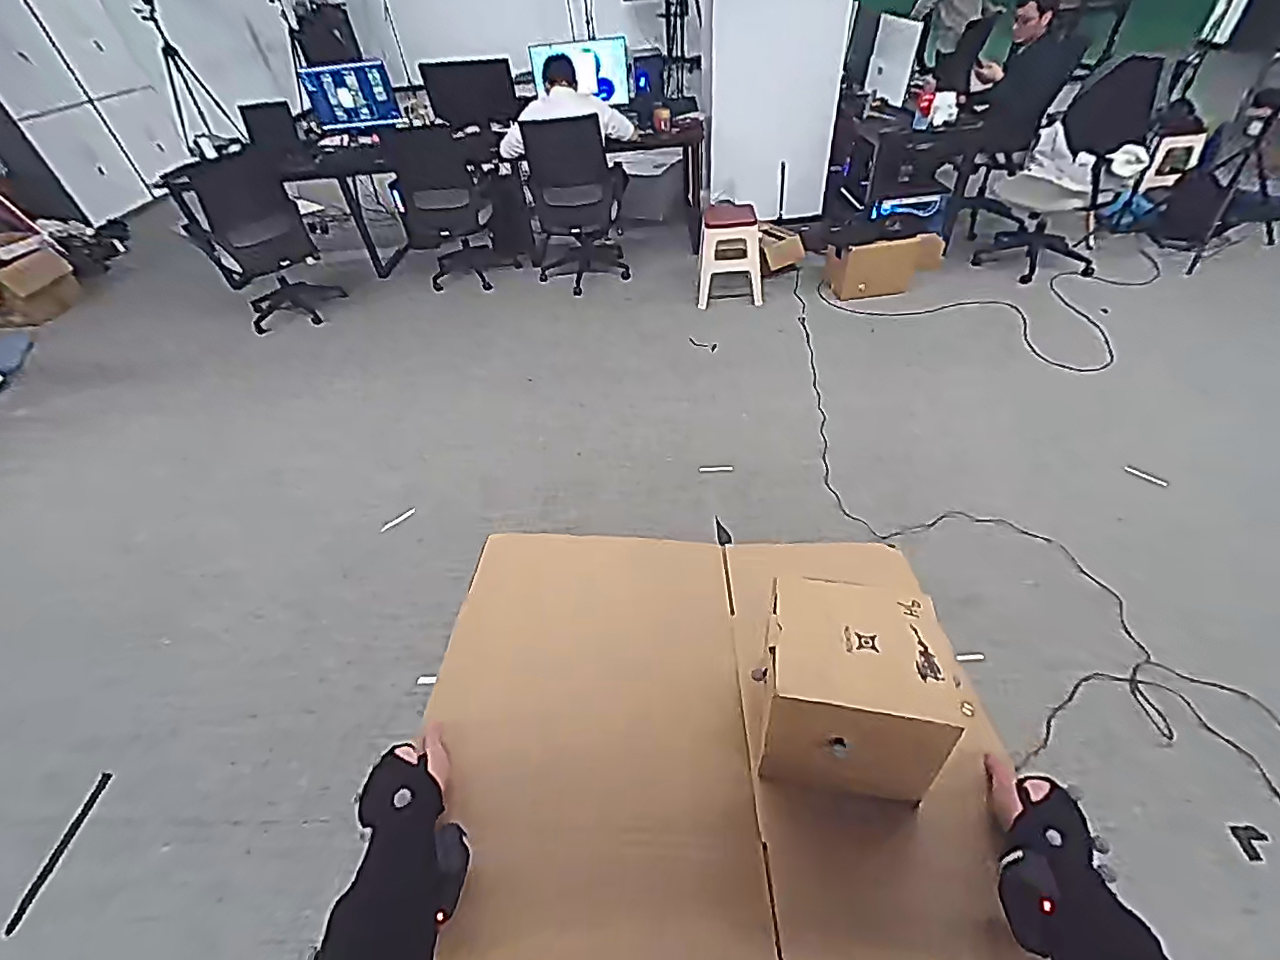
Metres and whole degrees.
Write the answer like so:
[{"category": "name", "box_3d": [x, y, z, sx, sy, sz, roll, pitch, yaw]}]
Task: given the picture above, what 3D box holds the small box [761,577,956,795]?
[{"category": "small box", "box_3d": [0.237, 0.238, 0.633, 0.179, 0.176, 0.168, 5, 38, 12]}]
